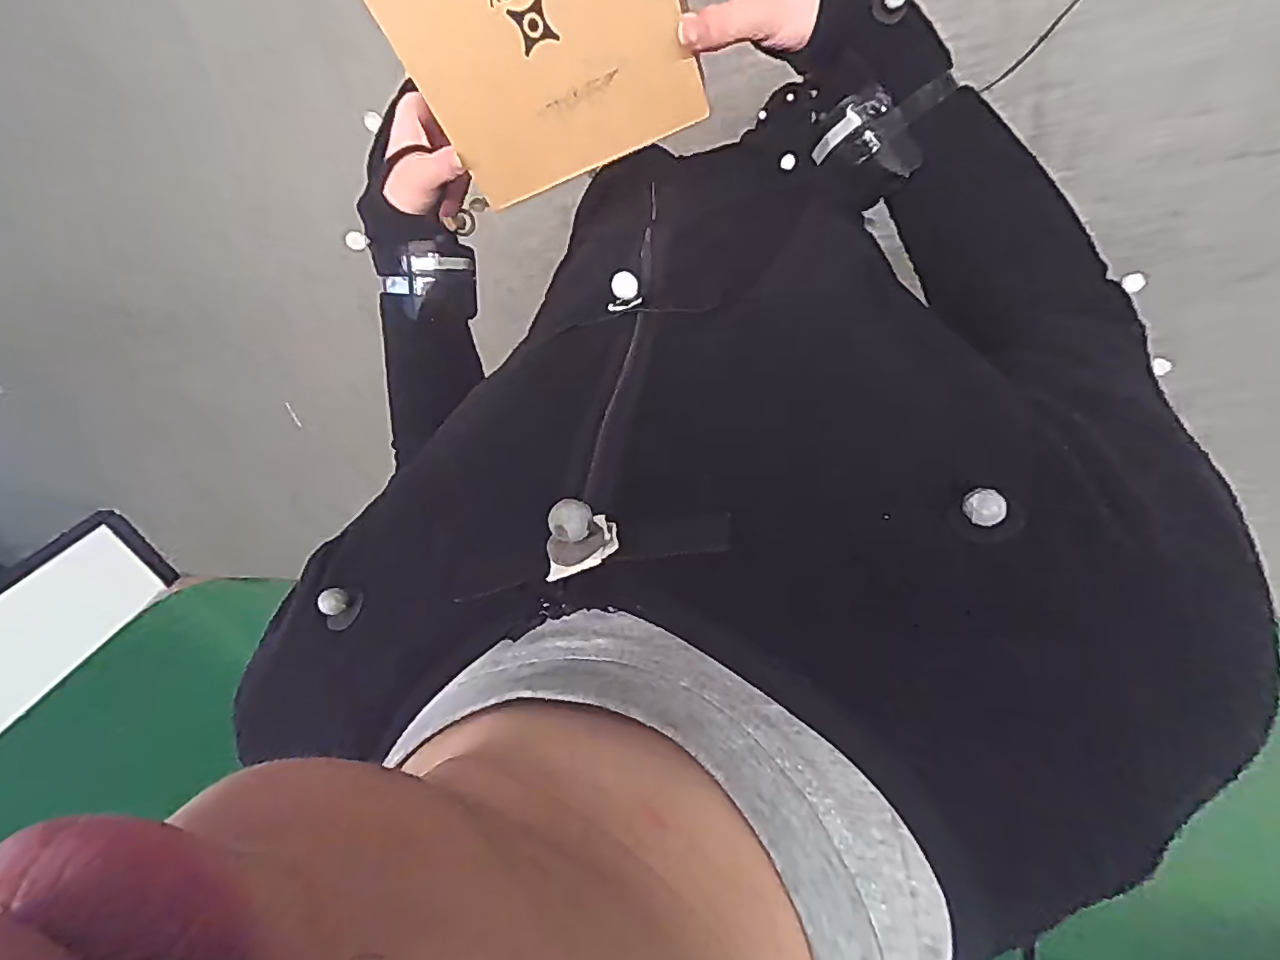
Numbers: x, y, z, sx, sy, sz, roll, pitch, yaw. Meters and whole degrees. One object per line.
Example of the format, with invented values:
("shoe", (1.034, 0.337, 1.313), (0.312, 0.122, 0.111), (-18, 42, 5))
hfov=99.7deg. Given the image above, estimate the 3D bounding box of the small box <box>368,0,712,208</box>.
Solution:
("small box", (-0.060, -0.324, 0.351), (0.168, 0.176, 0.179), (-13, 141, 18))
